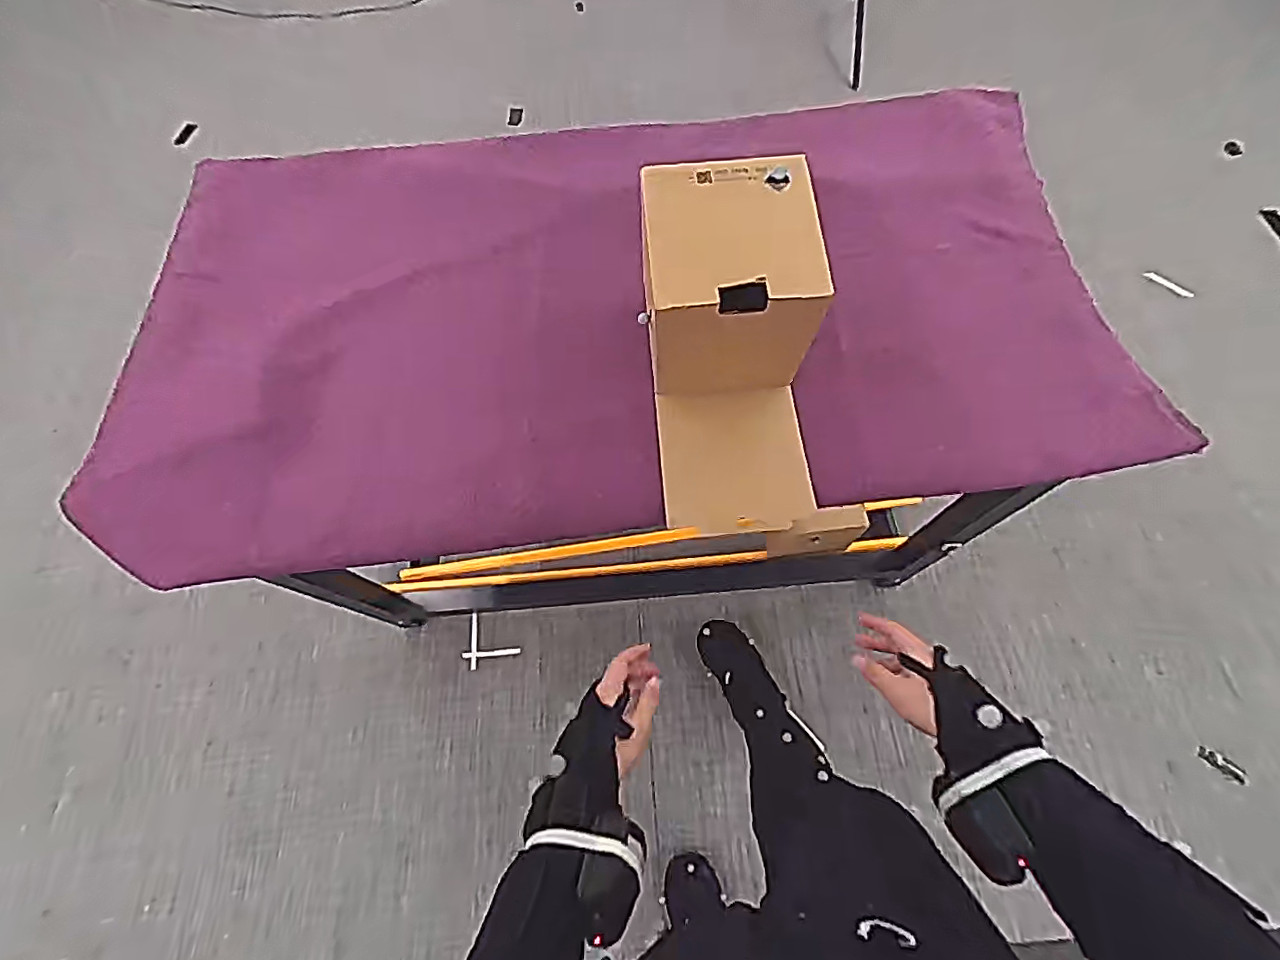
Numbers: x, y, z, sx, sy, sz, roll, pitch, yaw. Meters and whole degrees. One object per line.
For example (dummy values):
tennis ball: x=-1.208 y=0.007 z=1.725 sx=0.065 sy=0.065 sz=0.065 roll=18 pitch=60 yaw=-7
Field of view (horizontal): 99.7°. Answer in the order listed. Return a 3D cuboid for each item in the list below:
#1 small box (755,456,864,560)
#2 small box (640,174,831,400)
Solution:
small box: x=0.347 y=0.065 z=1.148 sx=0.179 sy=0.176 sz=0.168 roll=-6 pitch=67 yaw=1
small box: x=0.088 y=-0.206 z=0.591 sx=0.168 sy=0.179 sz=0.176 roll=-4 pitch=73 yaw=0
